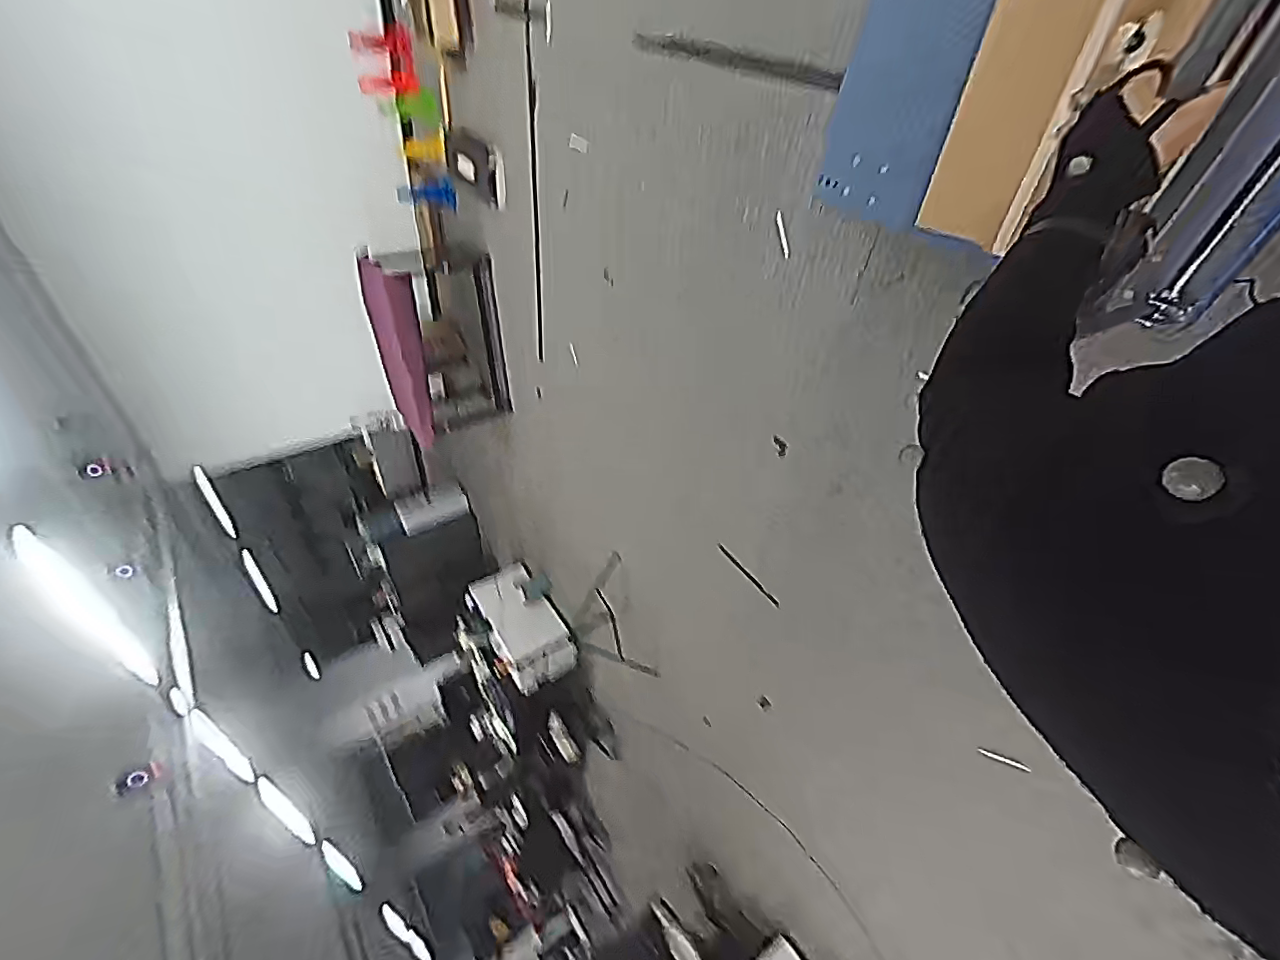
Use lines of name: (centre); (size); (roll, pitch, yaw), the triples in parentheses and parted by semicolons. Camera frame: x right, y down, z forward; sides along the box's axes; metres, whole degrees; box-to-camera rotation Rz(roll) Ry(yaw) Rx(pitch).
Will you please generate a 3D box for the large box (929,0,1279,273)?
large box: (0.740, -0.579, 0.833); (0.320, 0.320, 0.408); (42, 140, 36)
